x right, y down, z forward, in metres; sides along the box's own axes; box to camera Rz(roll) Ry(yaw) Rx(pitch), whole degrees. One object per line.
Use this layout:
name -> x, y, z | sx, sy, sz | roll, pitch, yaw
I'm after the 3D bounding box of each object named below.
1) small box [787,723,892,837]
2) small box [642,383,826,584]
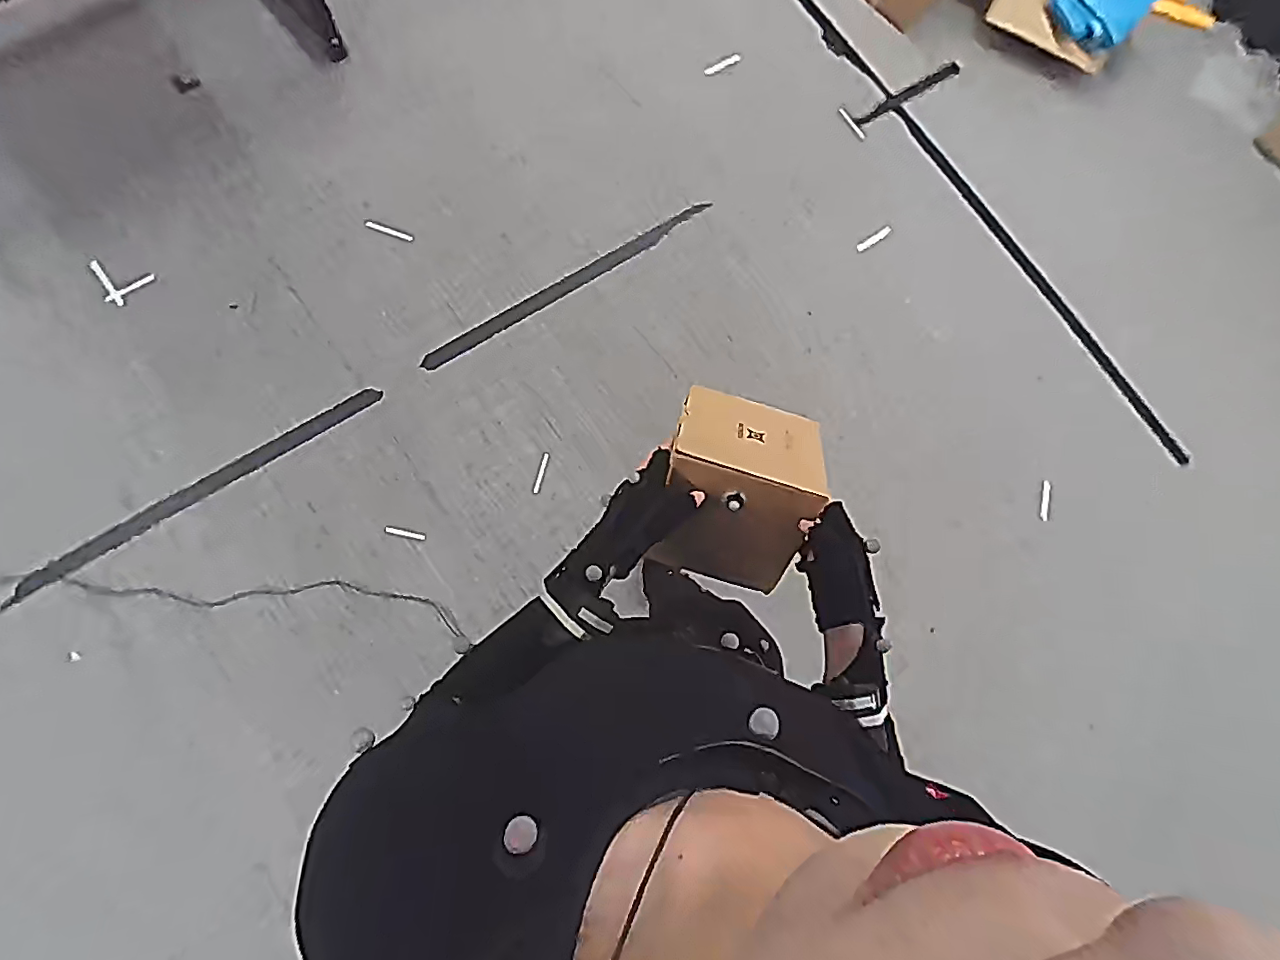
small box -> 0.509, 0.775, 1.417 | 0.179, 0.176, 0.168 | -36, 86, -12
small box -> 0.111, 0.006, 0.685 | 0.179, 0.176, 0.168 | 17, 38, 0
